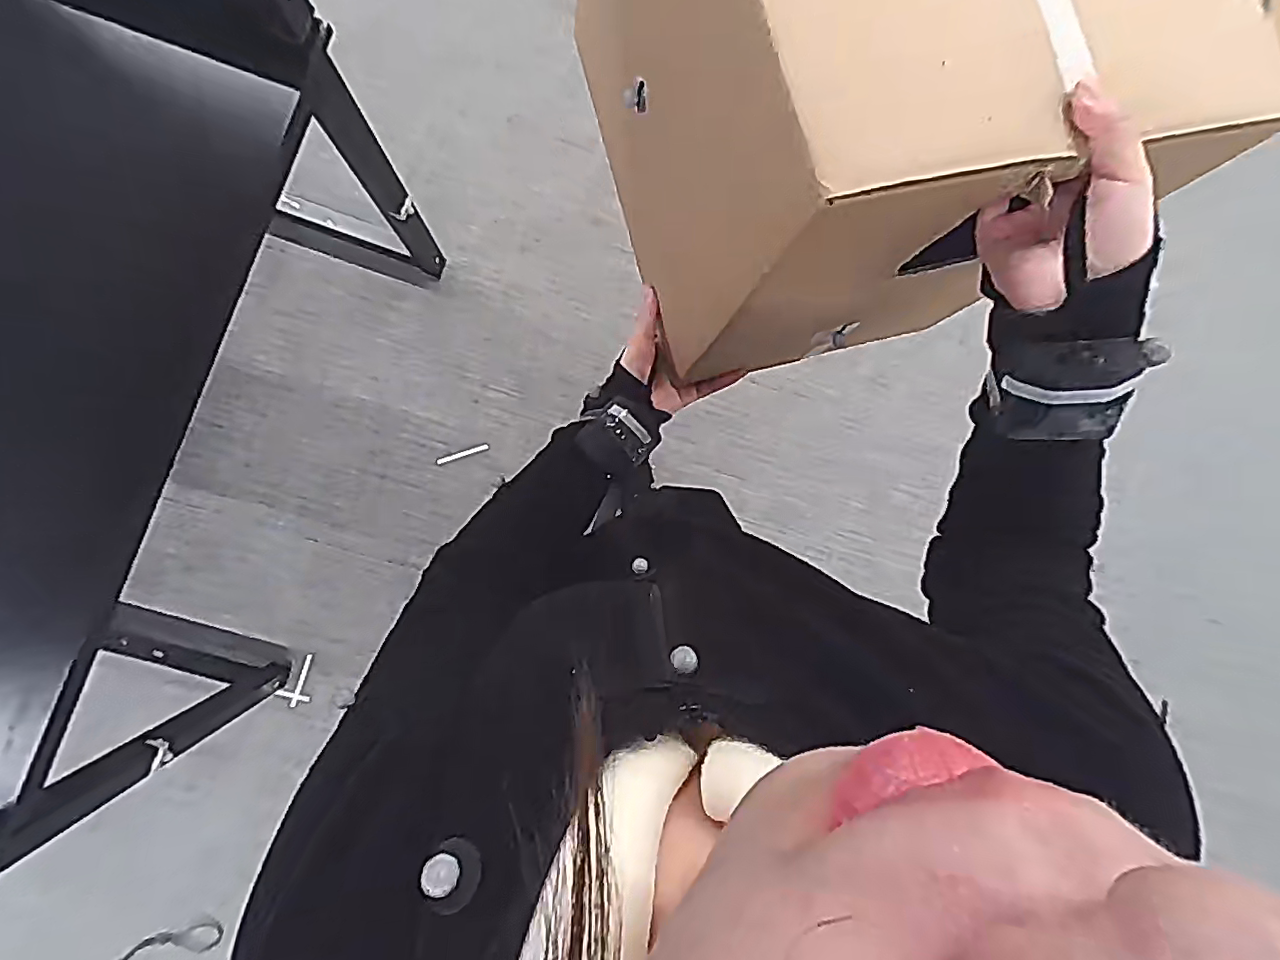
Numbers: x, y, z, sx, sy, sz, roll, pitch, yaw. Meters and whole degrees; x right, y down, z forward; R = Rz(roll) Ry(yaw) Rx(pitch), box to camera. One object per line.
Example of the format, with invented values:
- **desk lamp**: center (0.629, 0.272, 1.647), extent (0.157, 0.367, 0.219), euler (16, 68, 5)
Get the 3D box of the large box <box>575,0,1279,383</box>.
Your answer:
- **large box**: center (0.150, -0.338, 0.431), extent (0.320, 0.320, 0.408), euler (-15, 86, -11)
